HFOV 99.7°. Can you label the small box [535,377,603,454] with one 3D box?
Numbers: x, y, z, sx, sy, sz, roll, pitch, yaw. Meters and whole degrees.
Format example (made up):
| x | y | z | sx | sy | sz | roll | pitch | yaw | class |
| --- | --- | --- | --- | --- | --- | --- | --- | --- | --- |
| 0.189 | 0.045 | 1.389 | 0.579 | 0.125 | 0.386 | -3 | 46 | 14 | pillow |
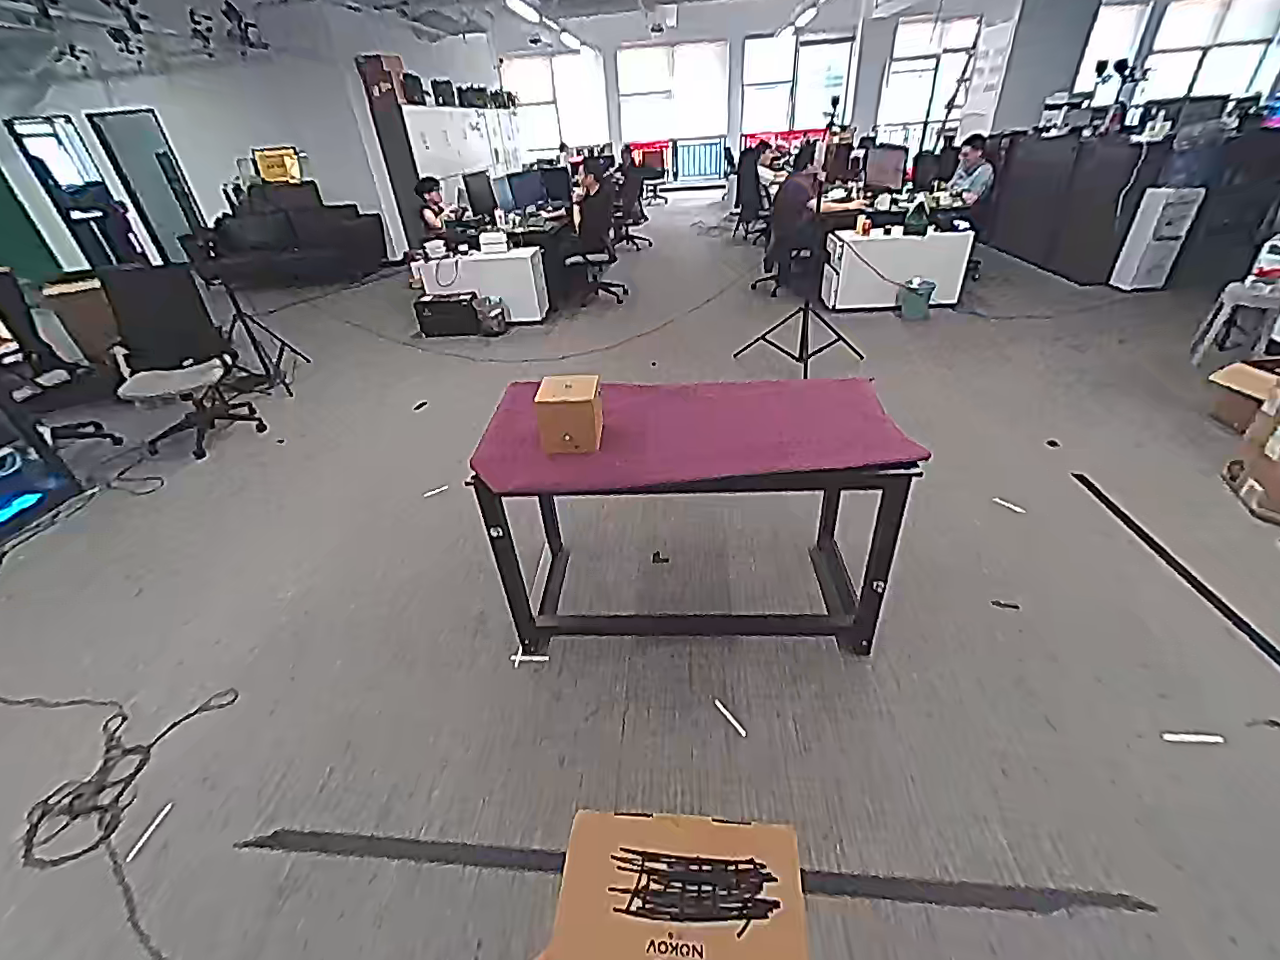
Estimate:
| x | y | z | sx | sy | sz | roll | pitch | yaw | class |
| --- | --- | --- | --- | --- | --- | --- | --- | --- | --- |
| -0.202 | -0.190 | 1.588 | 0.168 | 0.176 | 0.179 | -2 | 34 | 3 | small box |
